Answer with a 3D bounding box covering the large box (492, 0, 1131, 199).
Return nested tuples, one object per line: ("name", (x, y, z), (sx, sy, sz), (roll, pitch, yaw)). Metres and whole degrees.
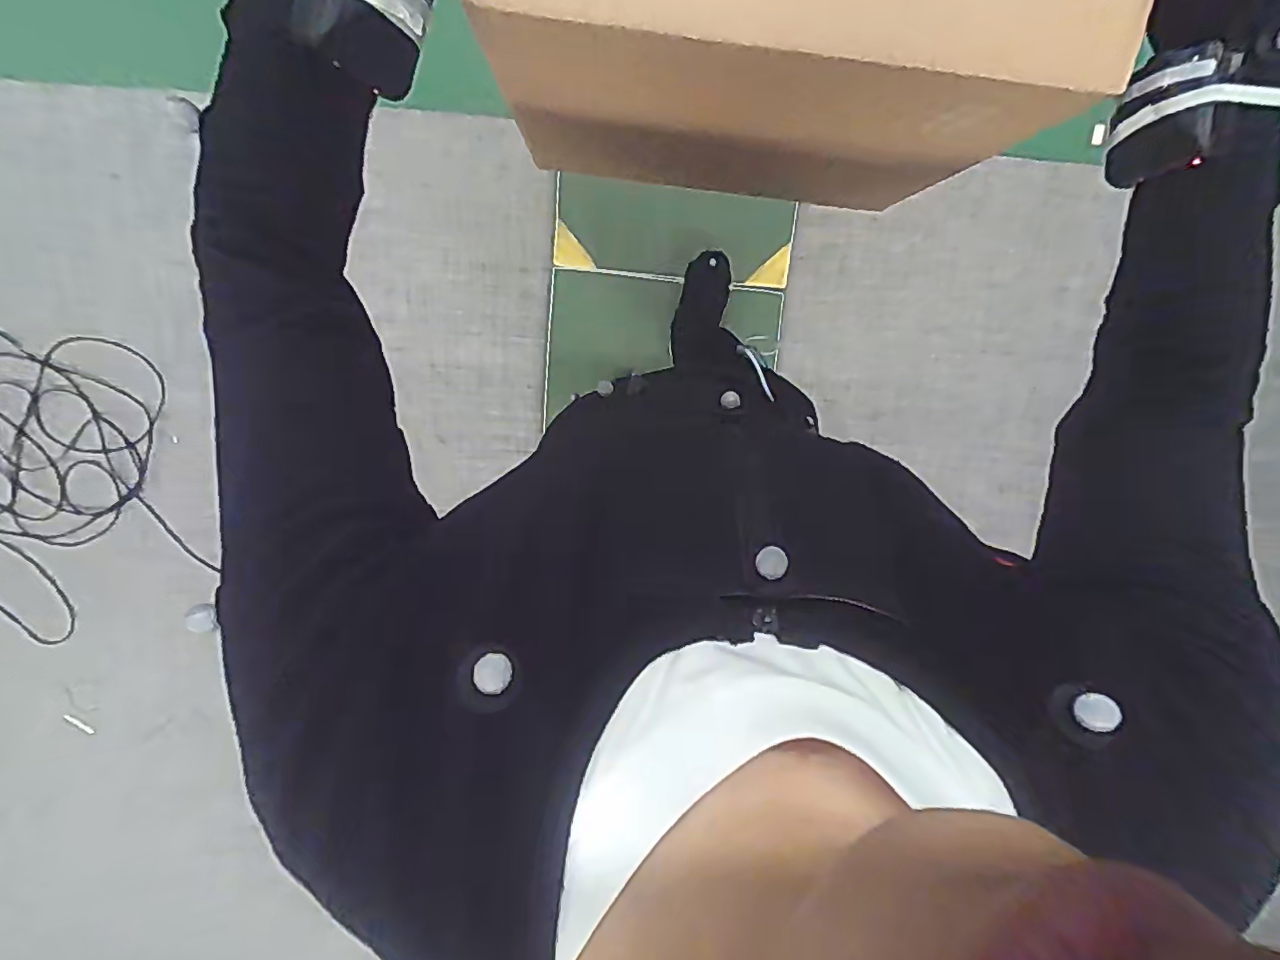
("large box", (0.107, -0.450, 0.442), (0.408, 0.320, 0.320), (4, 105, -5))
